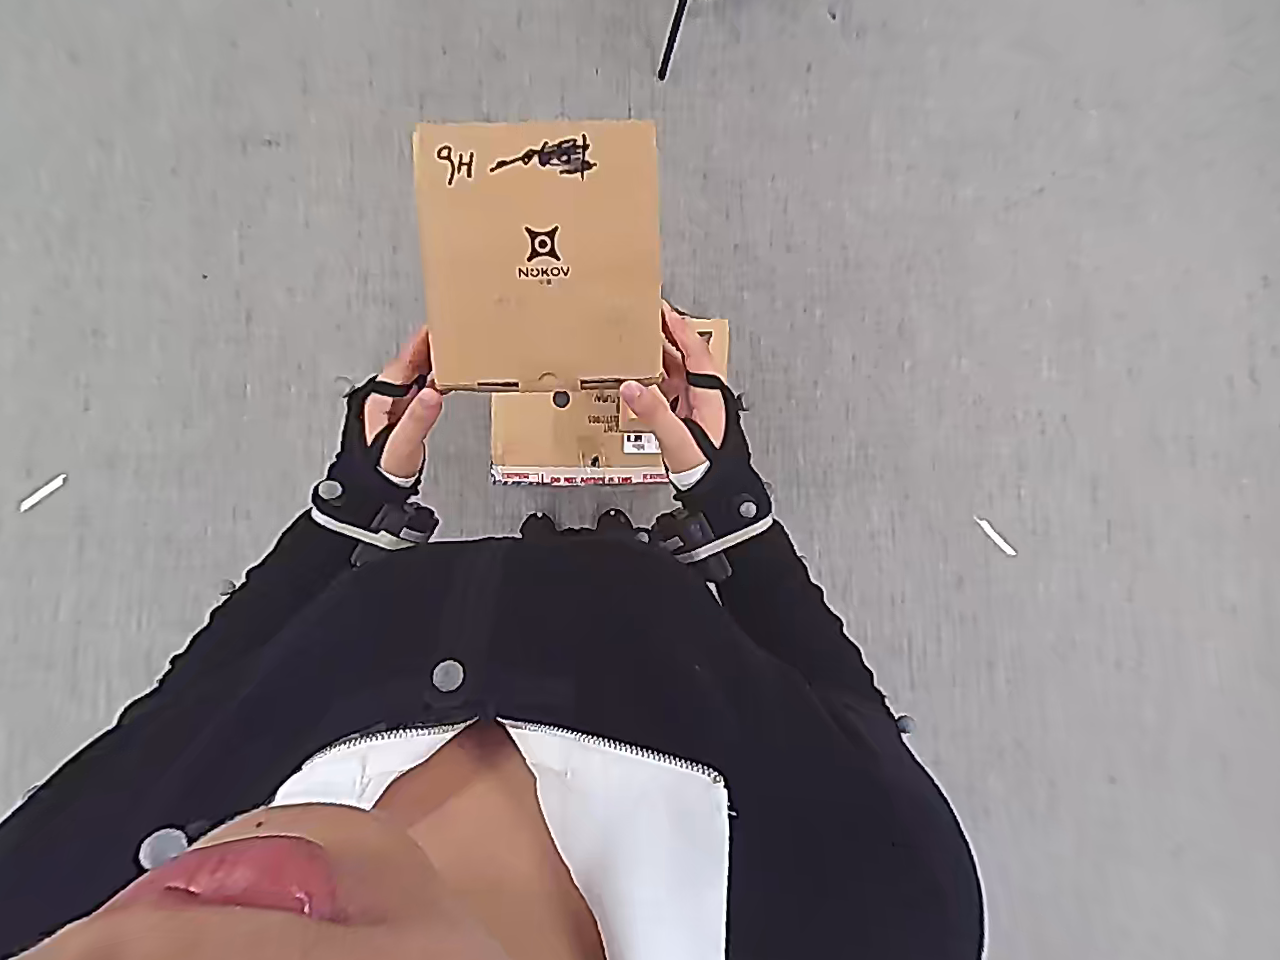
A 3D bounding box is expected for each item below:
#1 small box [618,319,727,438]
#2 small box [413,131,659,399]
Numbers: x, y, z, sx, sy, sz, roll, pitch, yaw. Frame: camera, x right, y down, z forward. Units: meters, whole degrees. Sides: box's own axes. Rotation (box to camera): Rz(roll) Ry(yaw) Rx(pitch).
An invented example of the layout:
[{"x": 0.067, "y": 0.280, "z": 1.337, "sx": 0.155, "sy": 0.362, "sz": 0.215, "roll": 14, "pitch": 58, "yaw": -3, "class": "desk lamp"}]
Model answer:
[{"x": 0.051, "y": -0.175, "z": 0.968, "sx": 0.168, "sy": 0.176, "sz": 0.179, "roll": 2, "pitch": 89, "yaw": -7, "class": "small box"}, {"x": -0.072, "y": -0.162, "z": 0.456, "sx": 0.168, "sy": 0.176, "sz": 0.179, "roll": -3, "pitch": 99, "yaw": -3, "class": "small box"}]
